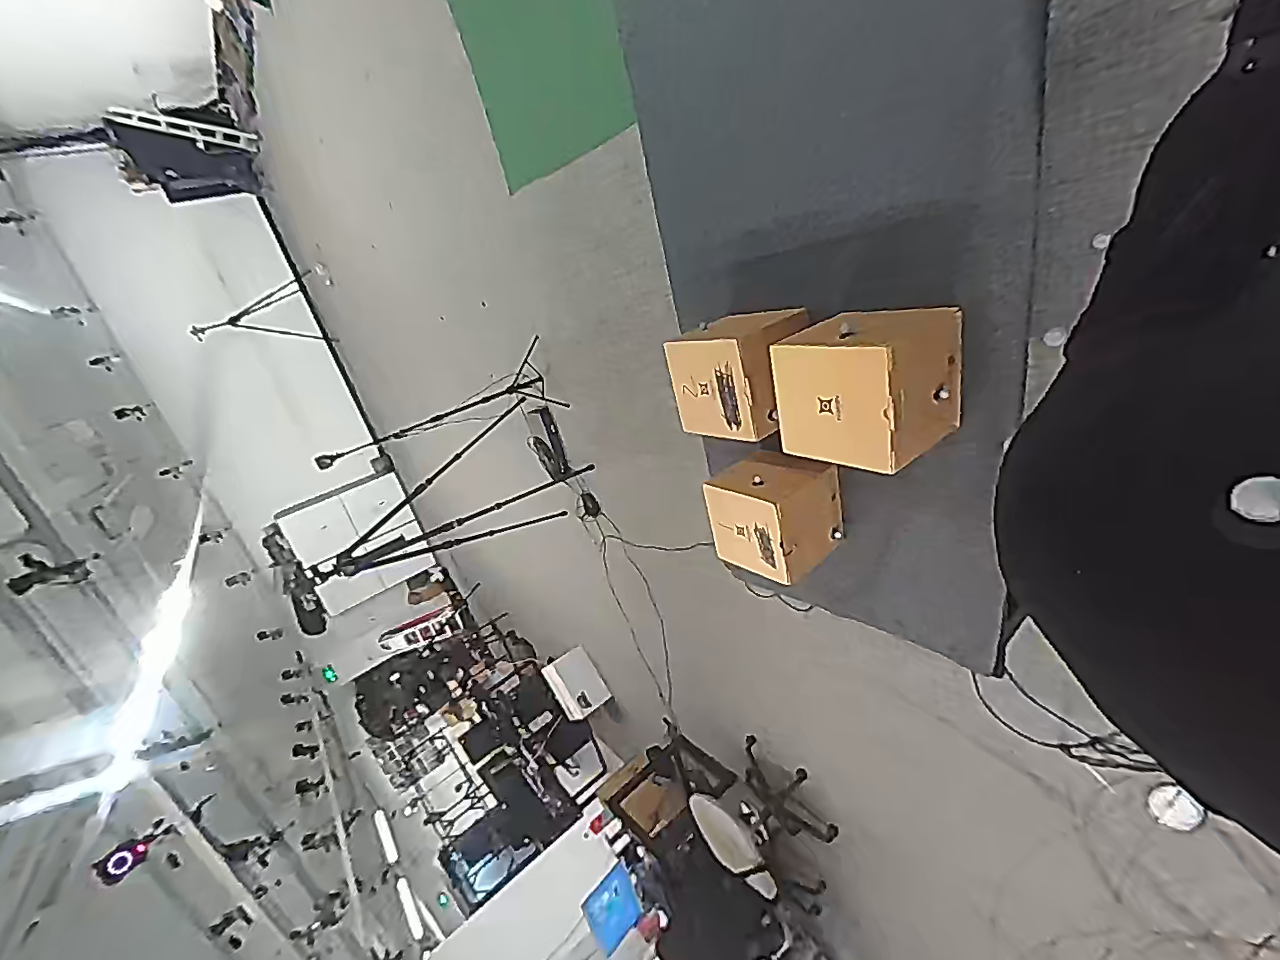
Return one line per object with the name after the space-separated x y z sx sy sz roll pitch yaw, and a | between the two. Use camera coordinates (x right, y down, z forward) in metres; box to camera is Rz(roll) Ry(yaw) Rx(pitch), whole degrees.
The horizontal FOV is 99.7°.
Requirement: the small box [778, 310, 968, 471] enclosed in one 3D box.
0.321 -0.132 0.751 0.179 0.176 0.168 18 129 52 | small box

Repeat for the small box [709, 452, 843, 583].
0.259 0.058 1.003 0.179 0.176 0.168 17 128 52 | small box
